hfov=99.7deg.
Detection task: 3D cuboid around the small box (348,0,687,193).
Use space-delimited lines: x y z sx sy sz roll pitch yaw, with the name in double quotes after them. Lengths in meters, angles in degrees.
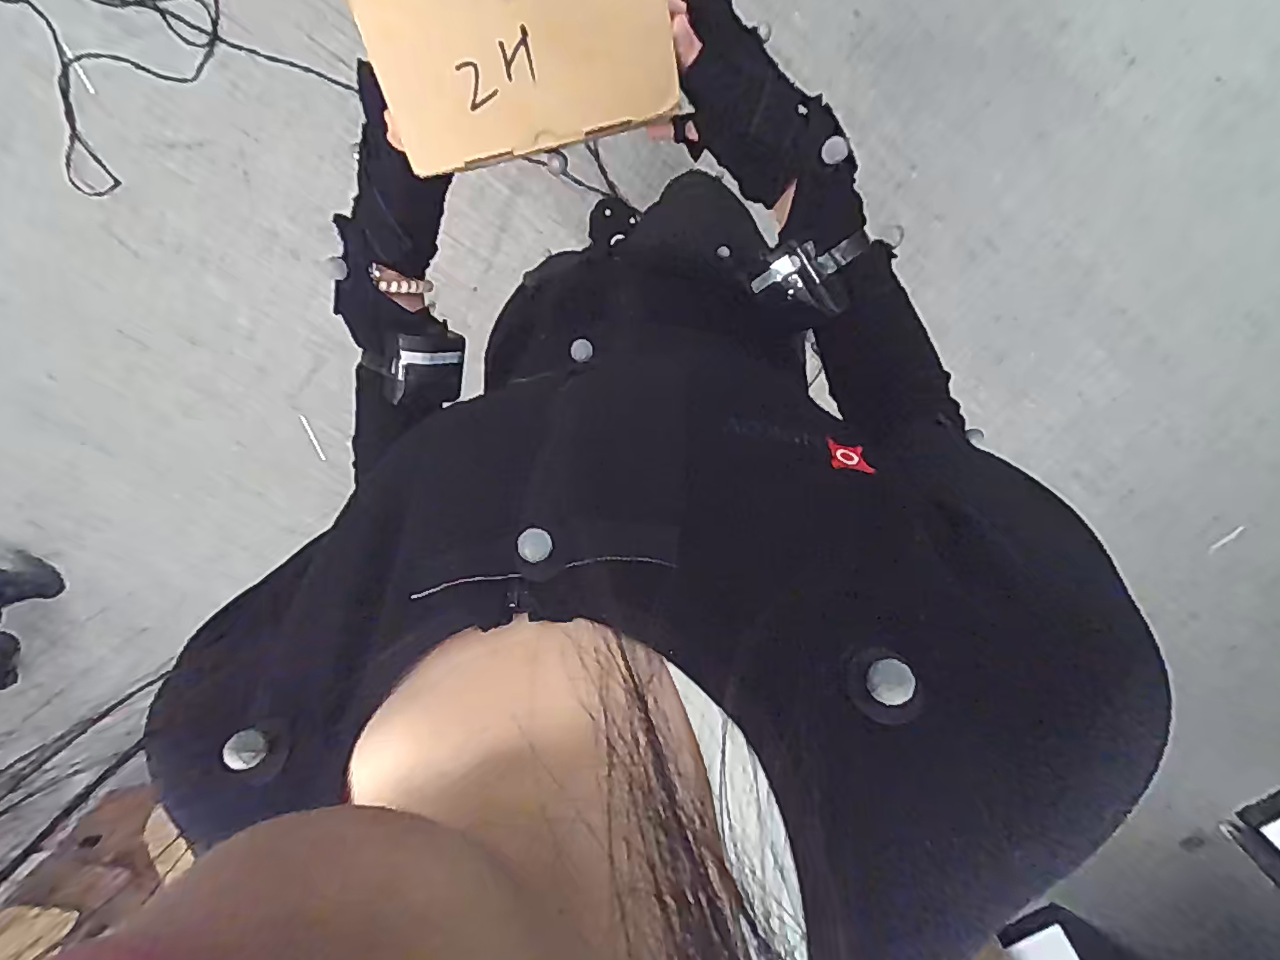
-0.076 -0.297 0.341 0.168 0.176 0.179 -13 122 2 "small box"
